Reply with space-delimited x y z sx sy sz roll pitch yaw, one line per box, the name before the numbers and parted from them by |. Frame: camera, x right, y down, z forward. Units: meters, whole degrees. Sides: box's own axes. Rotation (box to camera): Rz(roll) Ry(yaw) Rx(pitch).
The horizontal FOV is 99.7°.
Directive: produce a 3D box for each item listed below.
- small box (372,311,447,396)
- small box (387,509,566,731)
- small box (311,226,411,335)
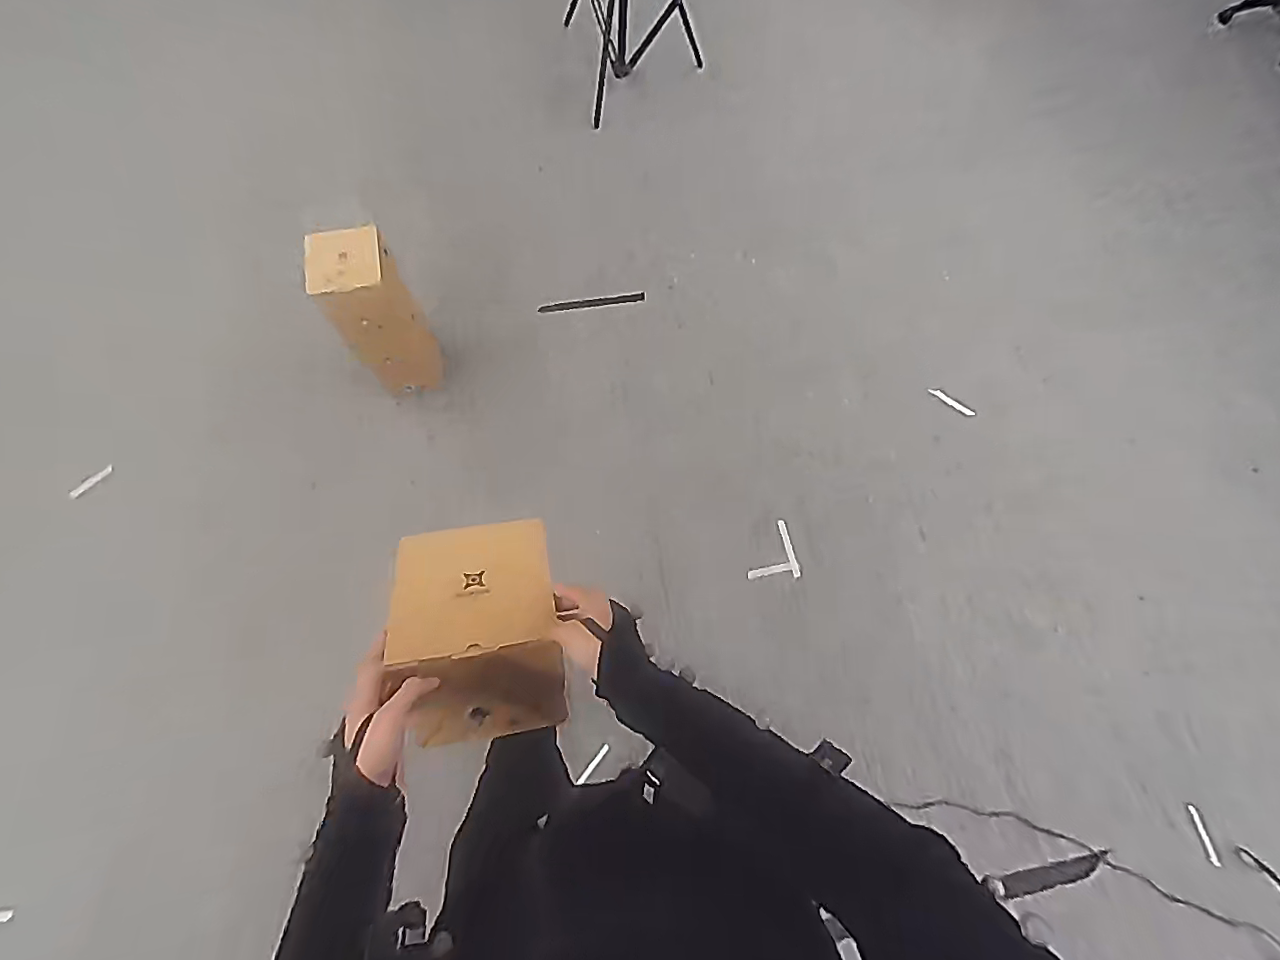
small box | -0.694 -0.378 1.633 0.168 0.176 0.179 -11 71 -7
small box | -0.179 0.159 0.633 0.168 0.176 0.179 -7 40 -11
small box | -0.677 -0.484 1.323 0.168 0.176 0.179 -11 72 -6
